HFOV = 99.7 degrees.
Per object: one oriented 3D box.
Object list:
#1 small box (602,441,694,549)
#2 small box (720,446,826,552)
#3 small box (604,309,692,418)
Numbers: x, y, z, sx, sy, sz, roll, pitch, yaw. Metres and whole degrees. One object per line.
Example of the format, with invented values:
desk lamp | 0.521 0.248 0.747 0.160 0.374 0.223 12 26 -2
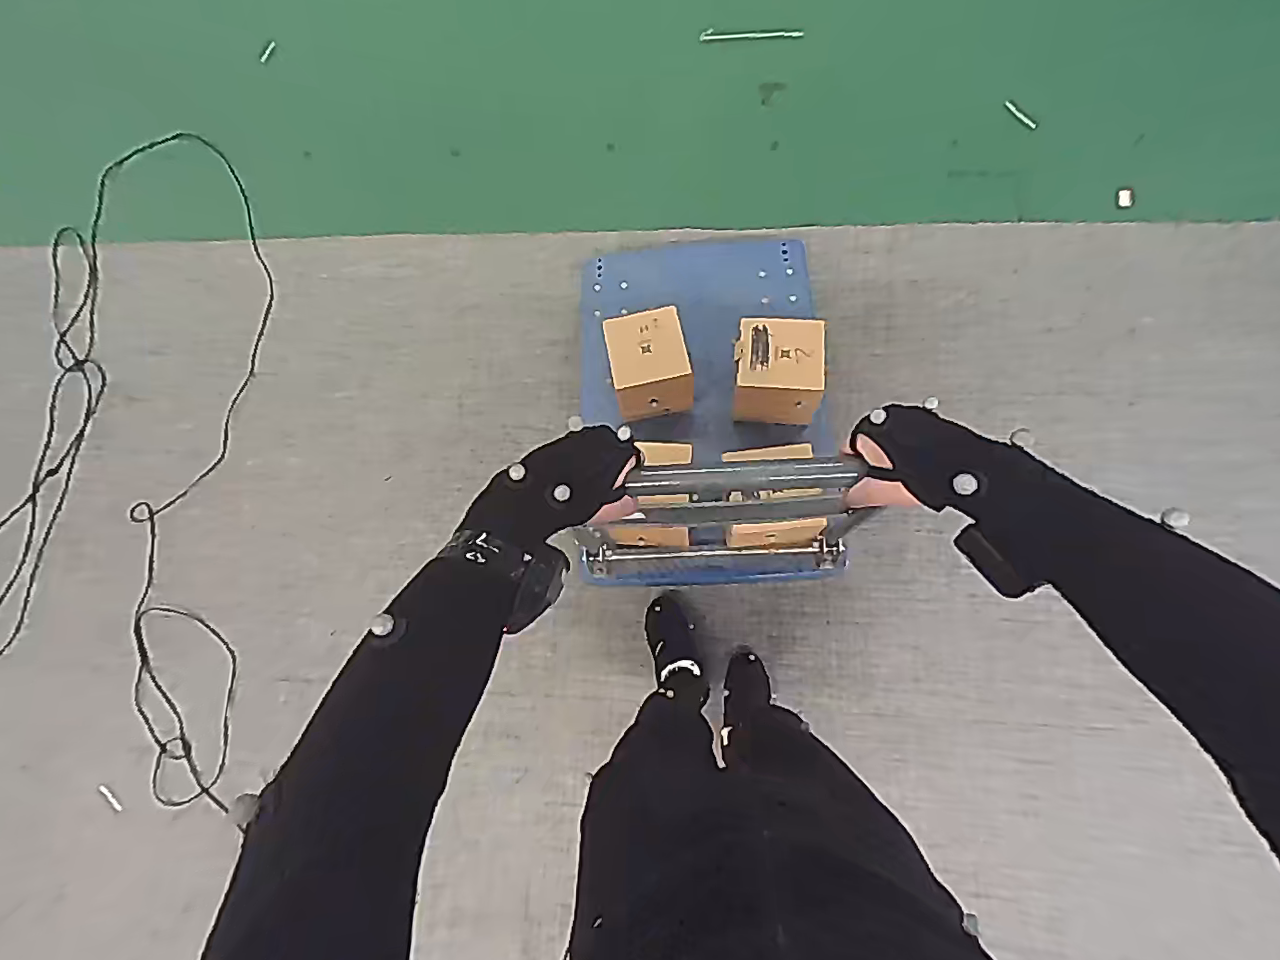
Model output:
small box | 0.022 0.036 1.123 0.168 0.176 0.179 4 72 6
small box | 0.257 0.045 1.094 0.179 0.176 0.168 -6 71 3
small box | 0.022 -0.252 1.221 0.168 0.176 0.179 -11 71 1
